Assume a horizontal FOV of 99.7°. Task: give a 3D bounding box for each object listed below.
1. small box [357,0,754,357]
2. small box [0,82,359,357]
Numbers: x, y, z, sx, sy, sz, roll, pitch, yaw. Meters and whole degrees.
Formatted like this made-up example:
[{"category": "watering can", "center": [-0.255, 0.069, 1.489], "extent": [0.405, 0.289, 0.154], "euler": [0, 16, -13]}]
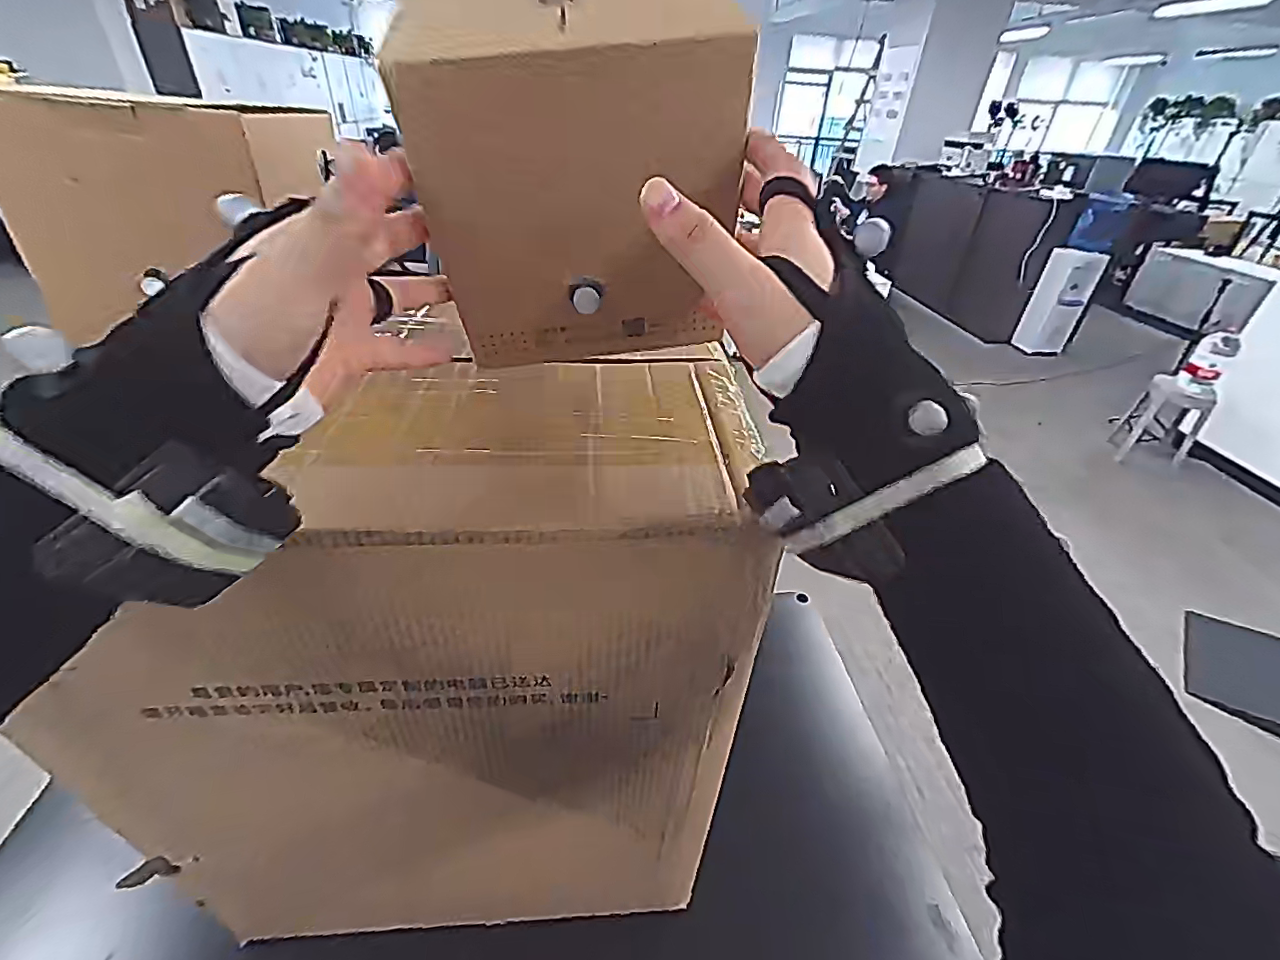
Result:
[{"category": "small box", "center": [-0.041, -0.201, 0.333], "extent": [0.168, 0.176, 0.179], "euler": [-8, 55, -2]}, {"category": "small box", "center": [-0.351, -0.211, 0.445], "extent": [0.168, 0.176, 0.179], "euler": [-1, 33, -8]}]
